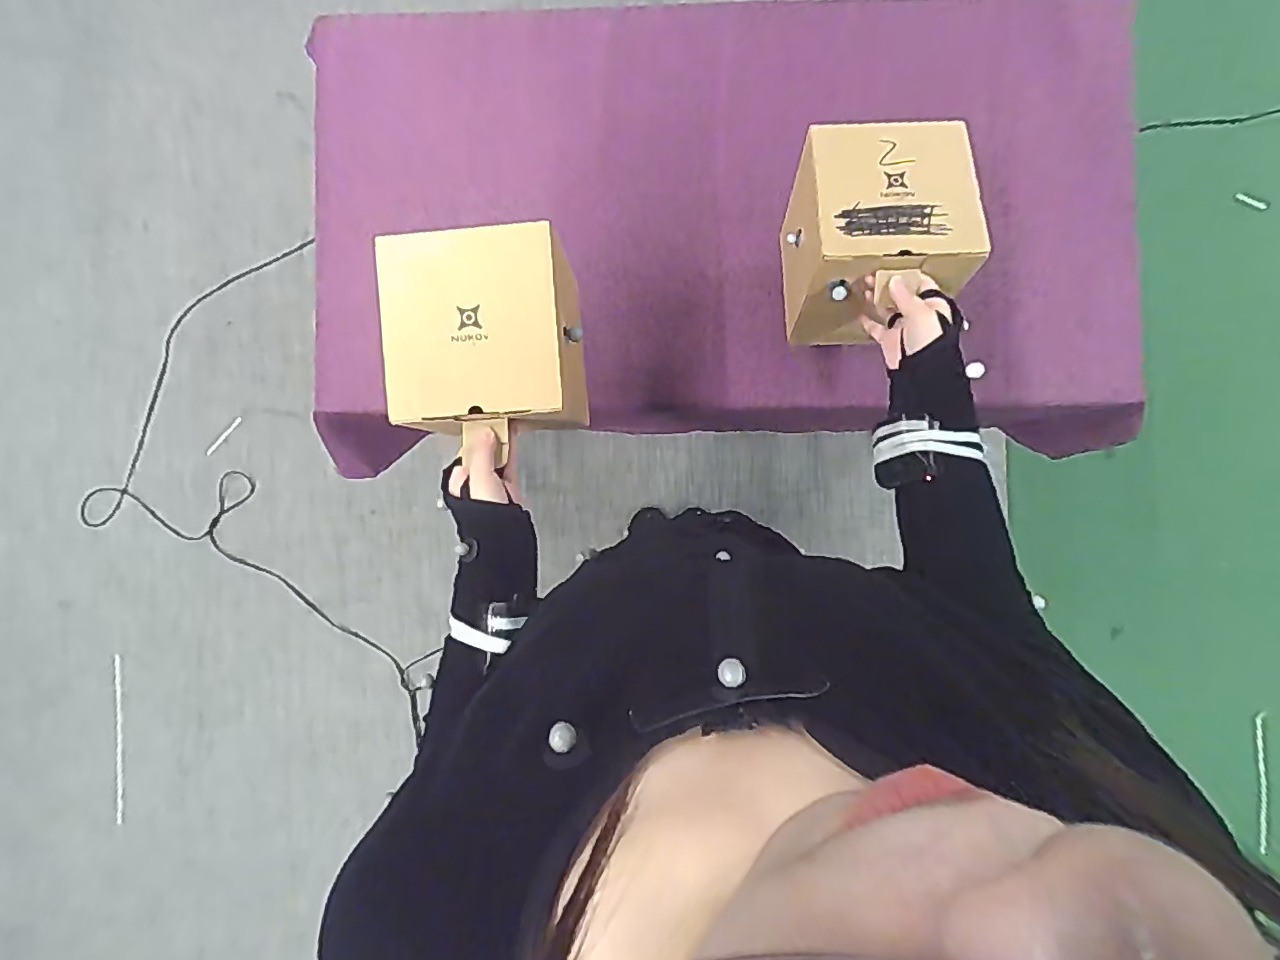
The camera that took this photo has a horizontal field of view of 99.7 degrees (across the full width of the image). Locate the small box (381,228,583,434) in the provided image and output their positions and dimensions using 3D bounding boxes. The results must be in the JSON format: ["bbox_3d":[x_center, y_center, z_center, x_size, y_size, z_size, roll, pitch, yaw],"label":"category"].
[{"bbox_3d":[-0.159,-0.148,0.593,0.168,0.176,0.179,-4,91,2],"label":"small box"}]
